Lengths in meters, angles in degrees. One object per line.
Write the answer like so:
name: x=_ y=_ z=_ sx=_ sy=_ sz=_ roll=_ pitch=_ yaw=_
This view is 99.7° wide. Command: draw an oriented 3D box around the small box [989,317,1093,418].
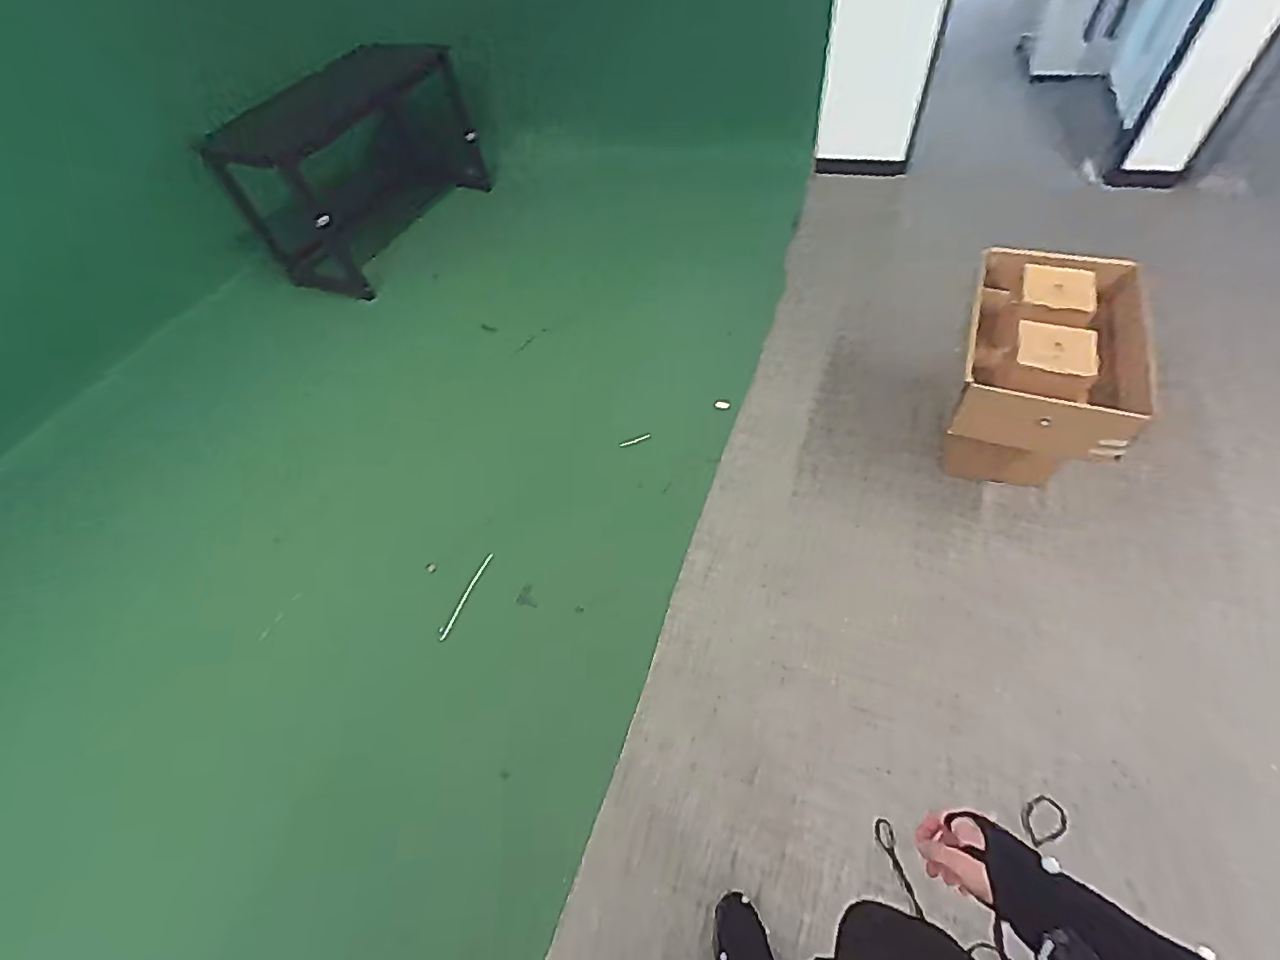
small box: x=1.026 y=-0.289 z=1.393 sx=0.168 sy=0.176 sz=0.179 roll=16 pitch=58 yaw=20

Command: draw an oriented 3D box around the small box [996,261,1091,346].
small box: x=1.129 y=-0.484 z=1.522 sx=0.168 sy=0.176 sz=0.179 roll=15 pitch=60 yaw=18
